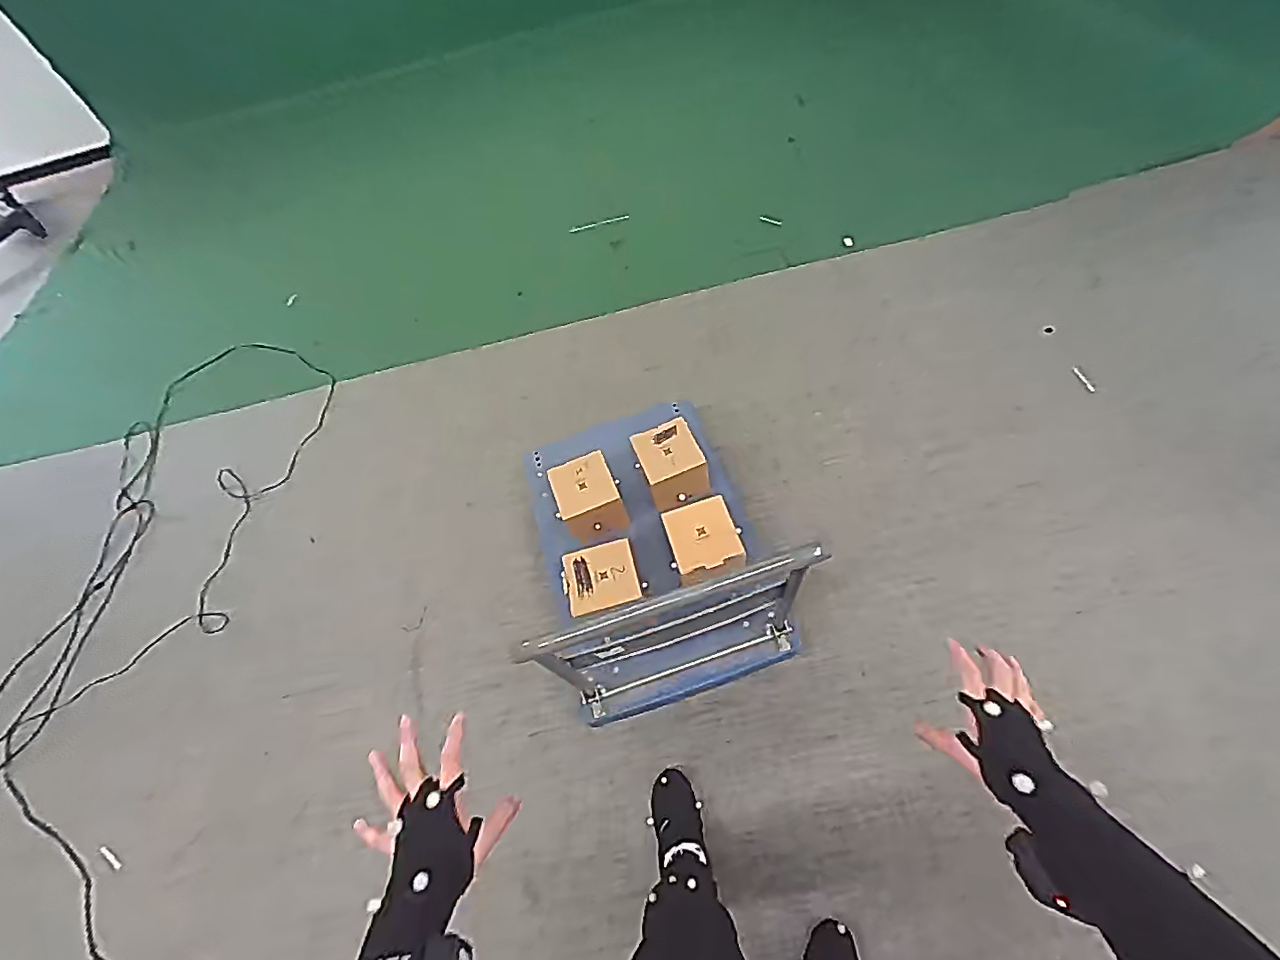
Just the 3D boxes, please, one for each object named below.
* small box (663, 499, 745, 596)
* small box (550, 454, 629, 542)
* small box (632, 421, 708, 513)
[{"bbox_3d":[0.169,0.181,1.433,0.168,0.176,0.179,-18,58,-1],"label":"small box"},{"bbox_3d":[-0.142,0.061,1.561,0.168,0.176,0.179,-22,58,-4],"label":"small box"},{"bbox_3d":[0.090,-0.035,1.576,0.168,0.176,0.179,-22,59,-2],"label":"small box"}]
